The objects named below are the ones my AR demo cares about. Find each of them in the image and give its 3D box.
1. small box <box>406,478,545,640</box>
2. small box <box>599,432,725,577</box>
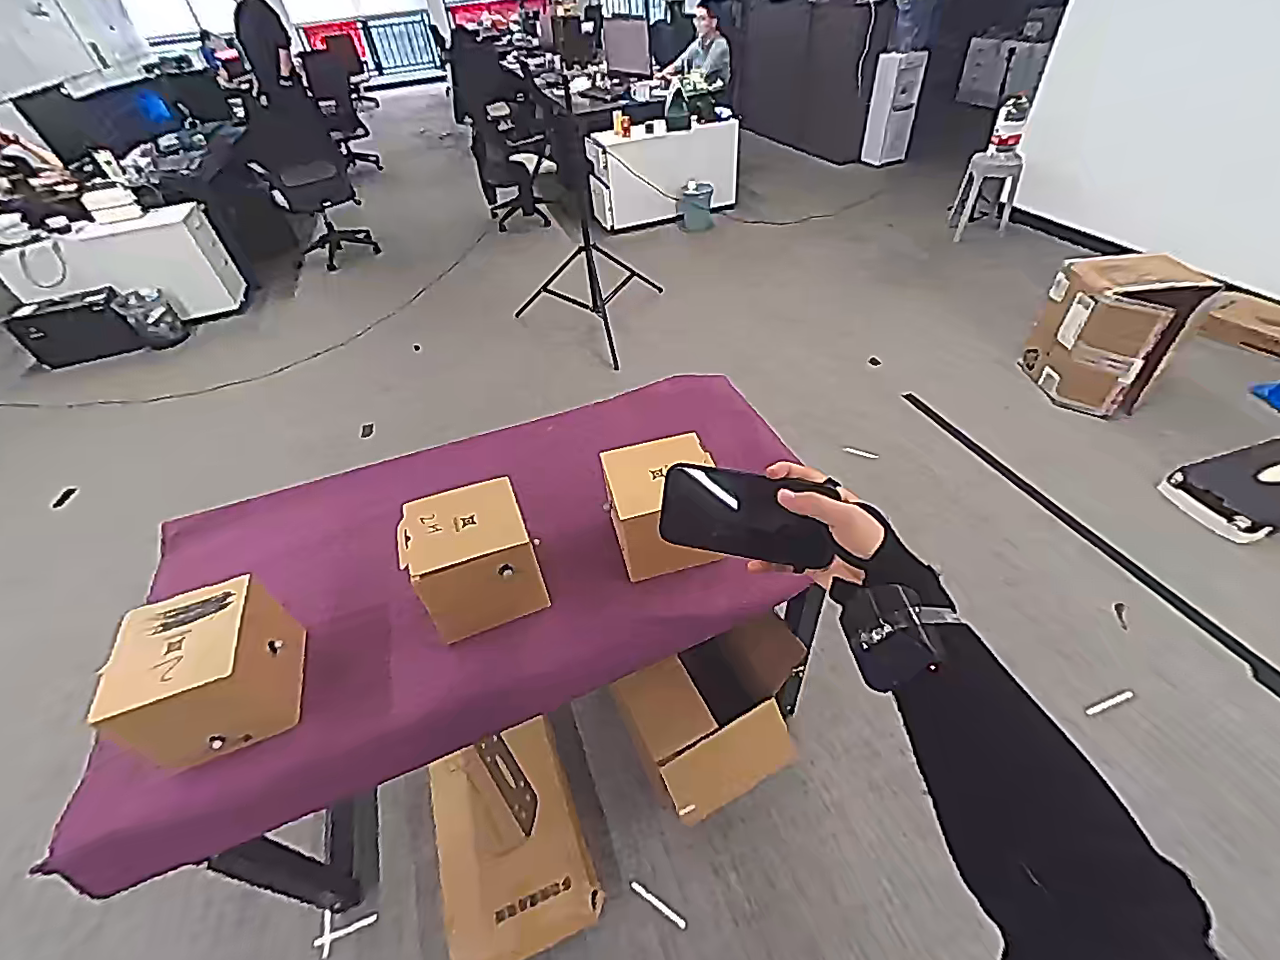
[{"bbox_3d":[-0.264,0.129,0.889,0.179,0.176,0.168,-19,43,-13],"label":"small box"},{"bbox_3d":[0.039,0.046,0.942,0.179,0.176,0.168,-13,44,-8],"label":"small box"}]
